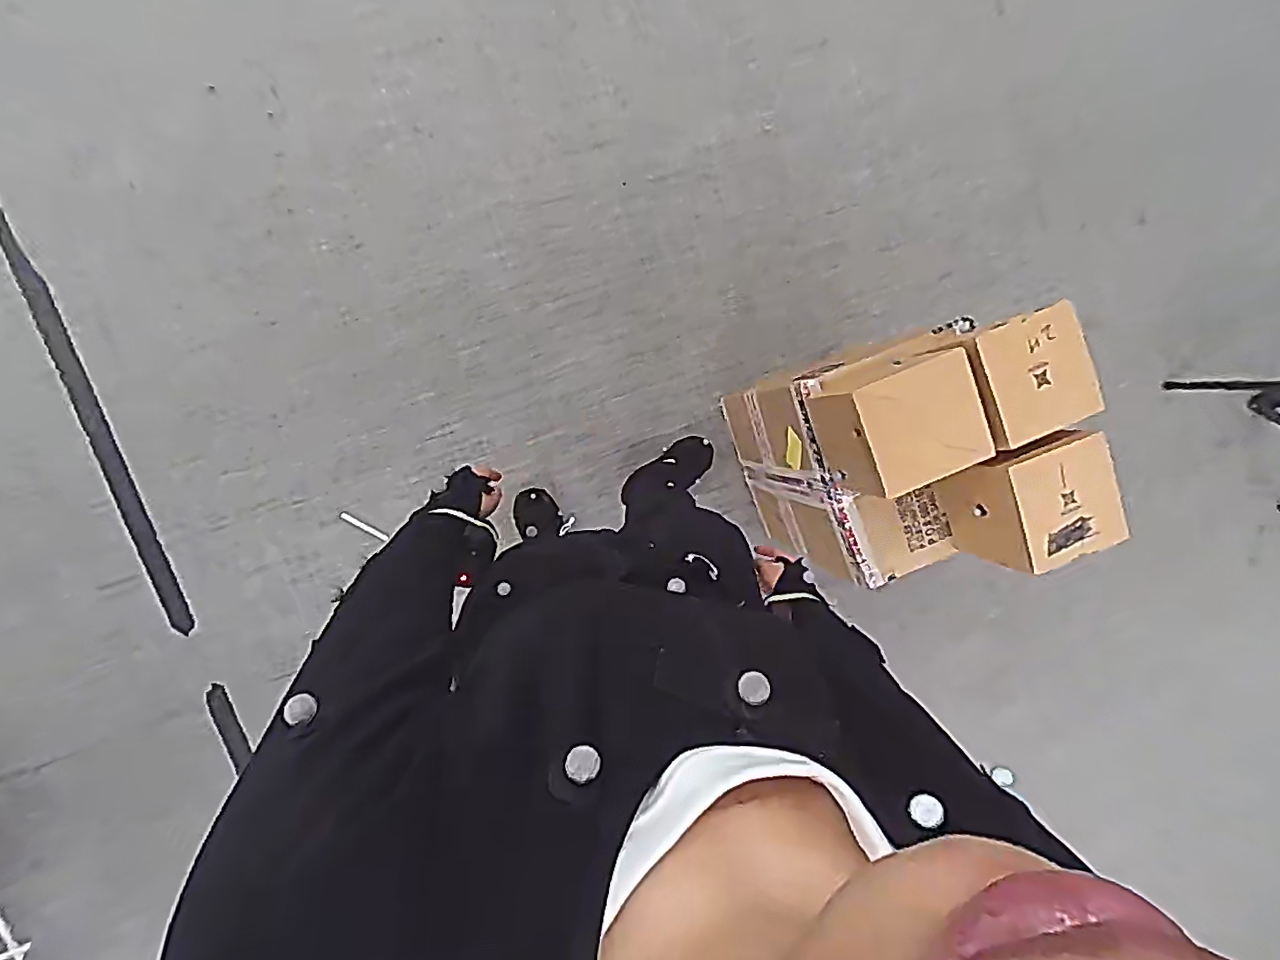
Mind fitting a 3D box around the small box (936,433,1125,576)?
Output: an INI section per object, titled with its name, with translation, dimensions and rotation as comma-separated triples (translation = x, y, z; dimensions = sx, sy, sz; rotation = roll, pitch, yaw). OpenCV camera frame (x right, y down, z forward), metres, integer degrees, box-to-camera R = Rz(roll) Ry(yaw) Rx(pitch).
[small box]
translation = 0.625, 0.029, 0.884
dimensions = 0.168, 0.176, 0.179
rotation = -20, 98, -5
